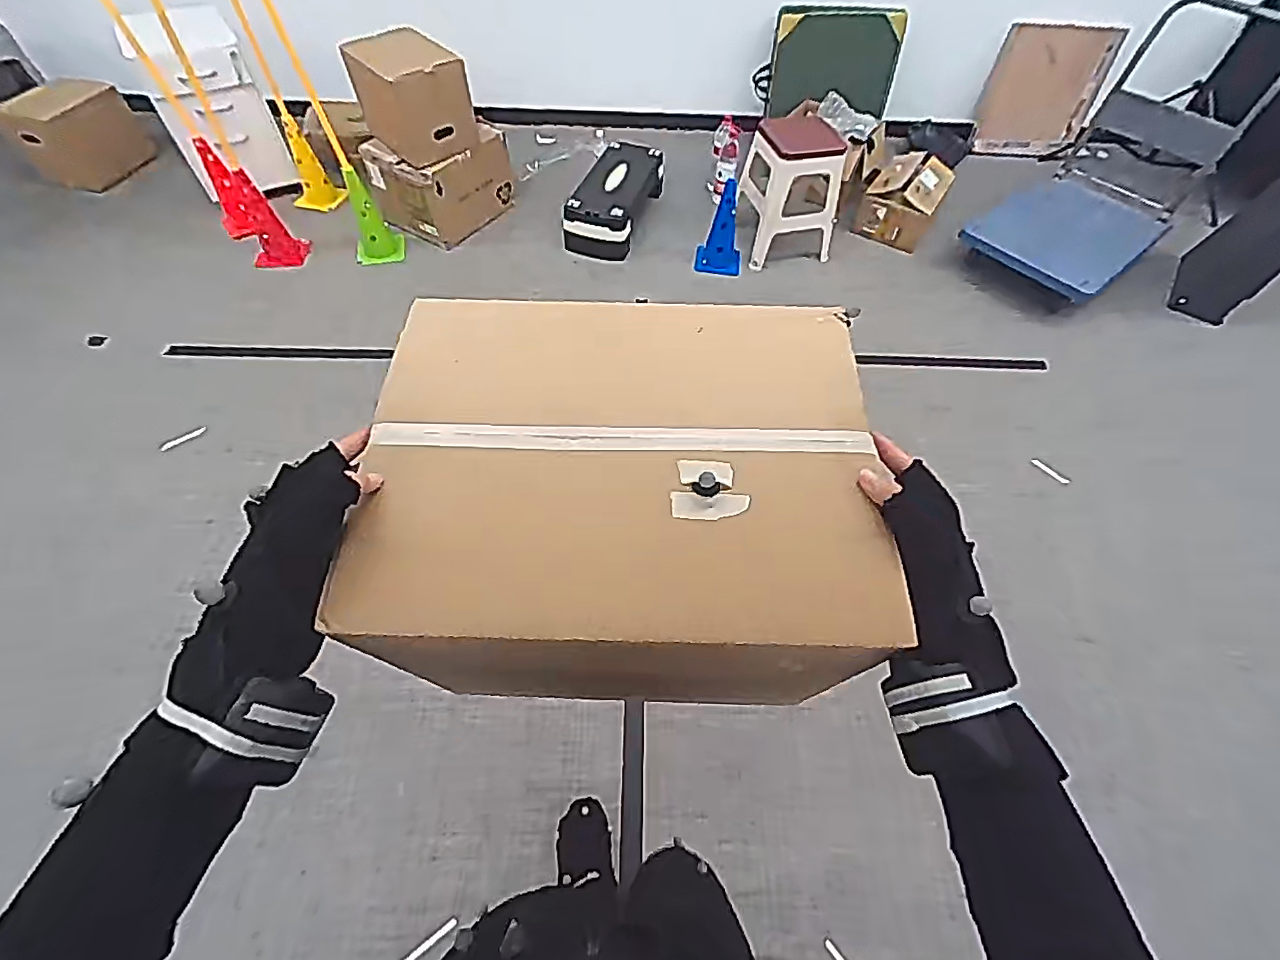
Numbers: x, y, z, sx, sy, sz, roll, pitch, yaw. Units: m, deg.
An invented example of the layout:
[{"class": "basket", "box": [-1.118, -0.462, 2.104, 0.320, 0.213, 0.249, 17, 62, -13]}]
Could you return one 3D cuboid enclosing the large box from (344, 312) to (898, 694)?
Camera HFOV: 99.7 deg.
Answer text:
[{"class": "large box", "box": [-0.014, 0.044, 0.583, 0.408, 0.320, 0.320, 2, 61, 0]}]
